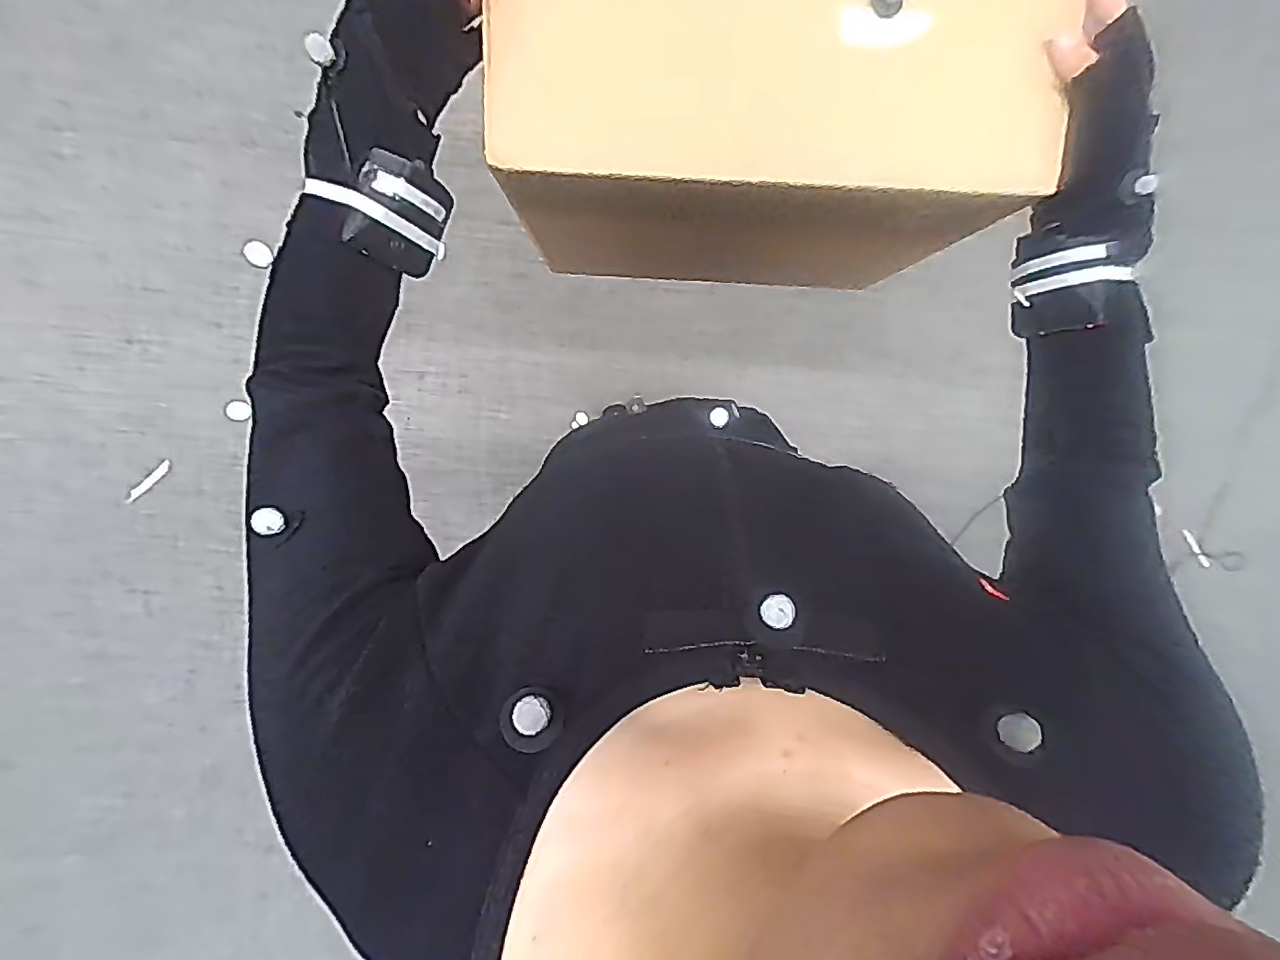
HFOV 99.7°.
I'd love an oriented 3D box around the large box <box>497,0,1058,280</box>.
[{"bbox_3d":[0.093,-0.392,0.522,0.408,0.320,0.320,2,98,-2],"label":"large box"}]
